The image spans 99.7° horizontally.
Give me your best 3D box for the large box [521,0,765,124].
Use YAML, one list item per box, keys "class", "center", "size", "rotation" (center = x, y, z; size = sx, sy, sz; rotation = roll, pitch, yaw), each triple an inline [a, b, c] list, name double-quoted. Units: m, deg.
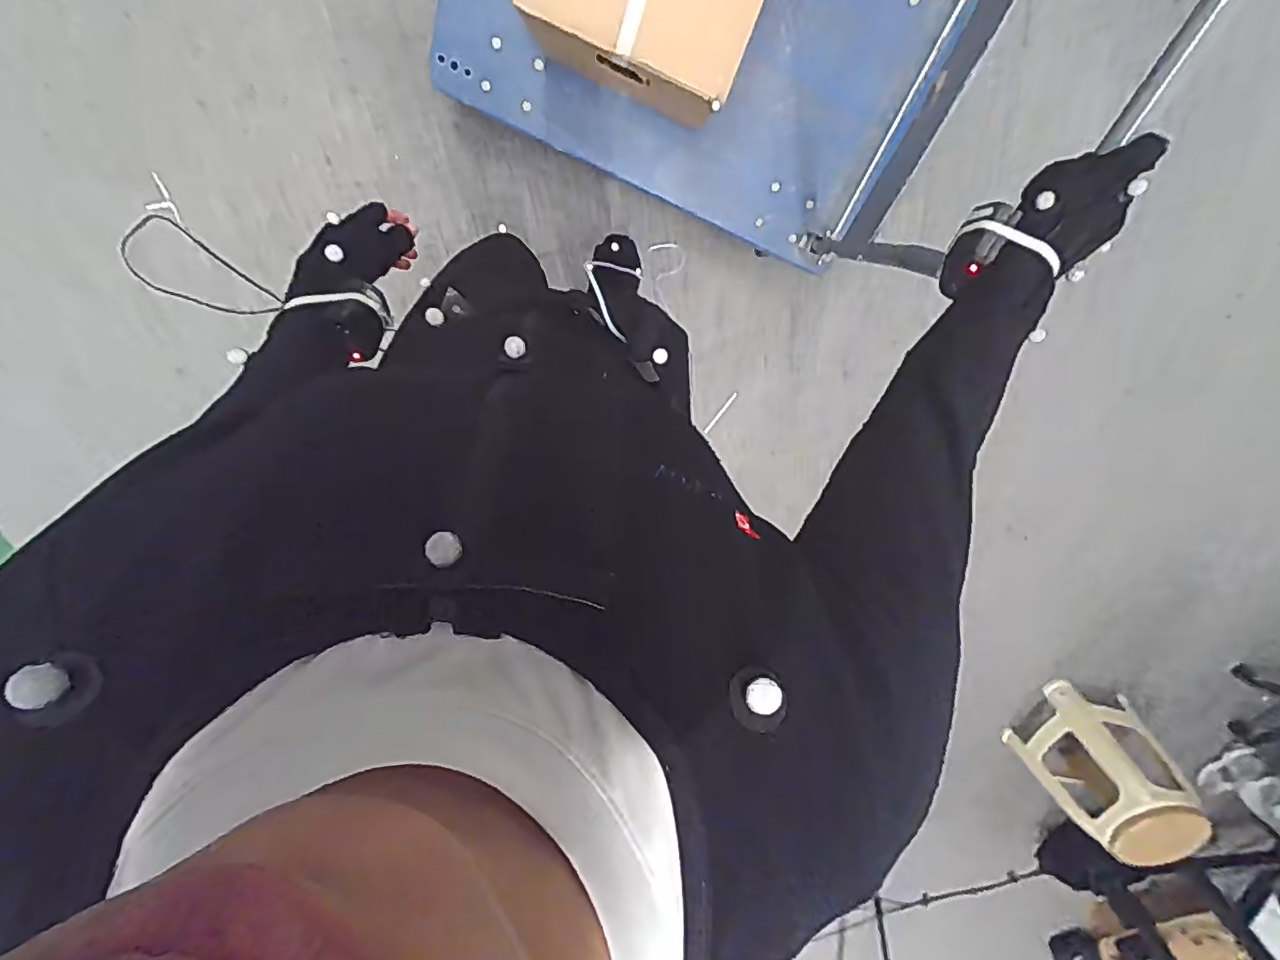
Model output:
- class: "large box"
  center: [0.047, -0.820, 0.795]
  size: [0.320, 0.320, 0.408]
  rotation: [19, 116, -9]
